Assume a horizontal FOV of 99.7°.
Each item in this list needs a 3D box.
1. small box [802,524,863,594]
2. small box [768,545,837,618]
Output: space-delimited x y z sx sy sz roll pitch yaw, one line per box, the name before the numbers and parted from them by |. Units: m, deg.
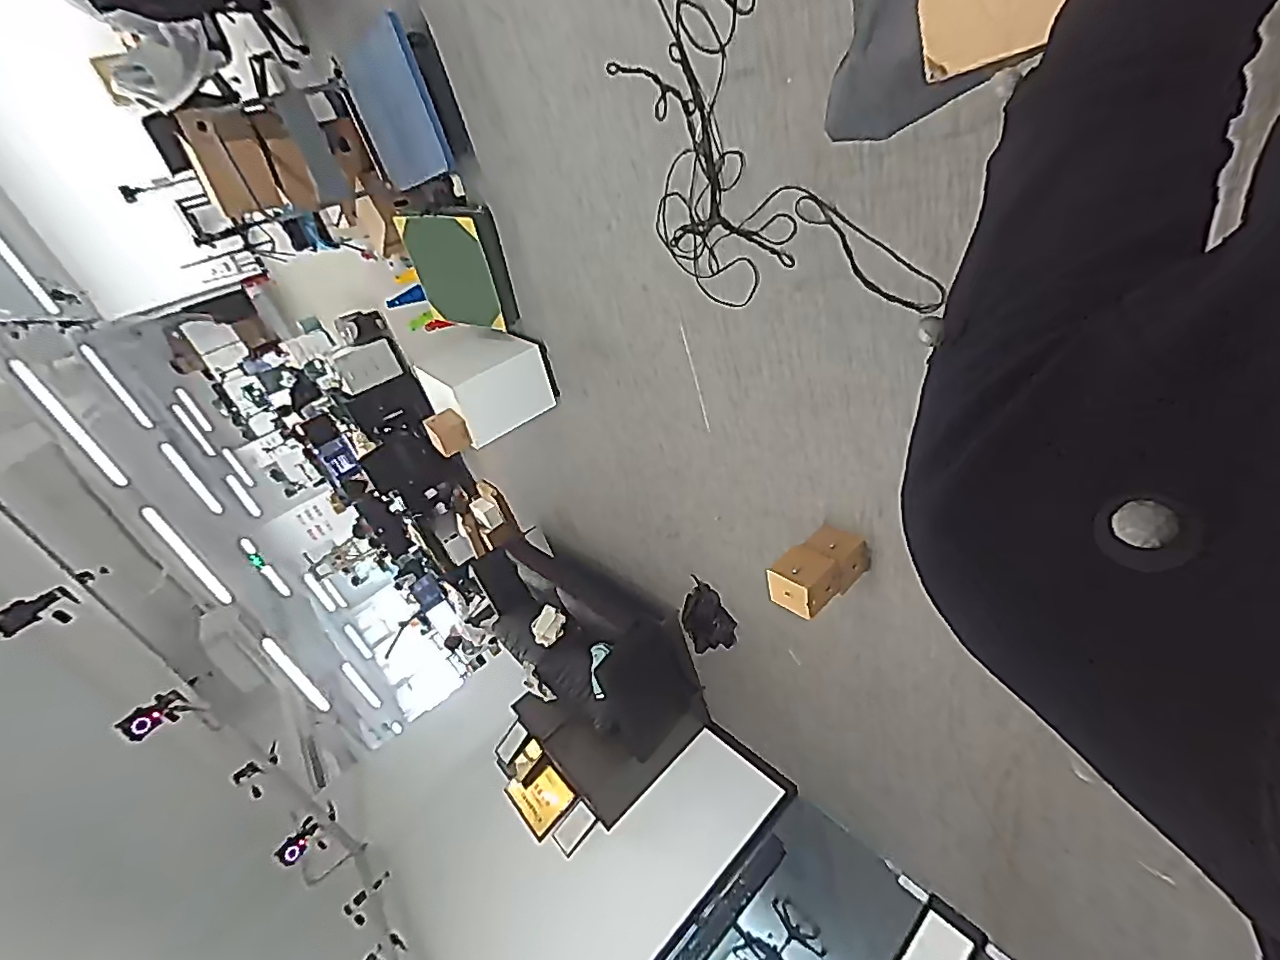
small box | 0.728 0.292 2.046 0.179 0.176 0.168 23 139 46
small box | 0.597 0.362 1.977 0.179 0.176 0.168 24 139 46
